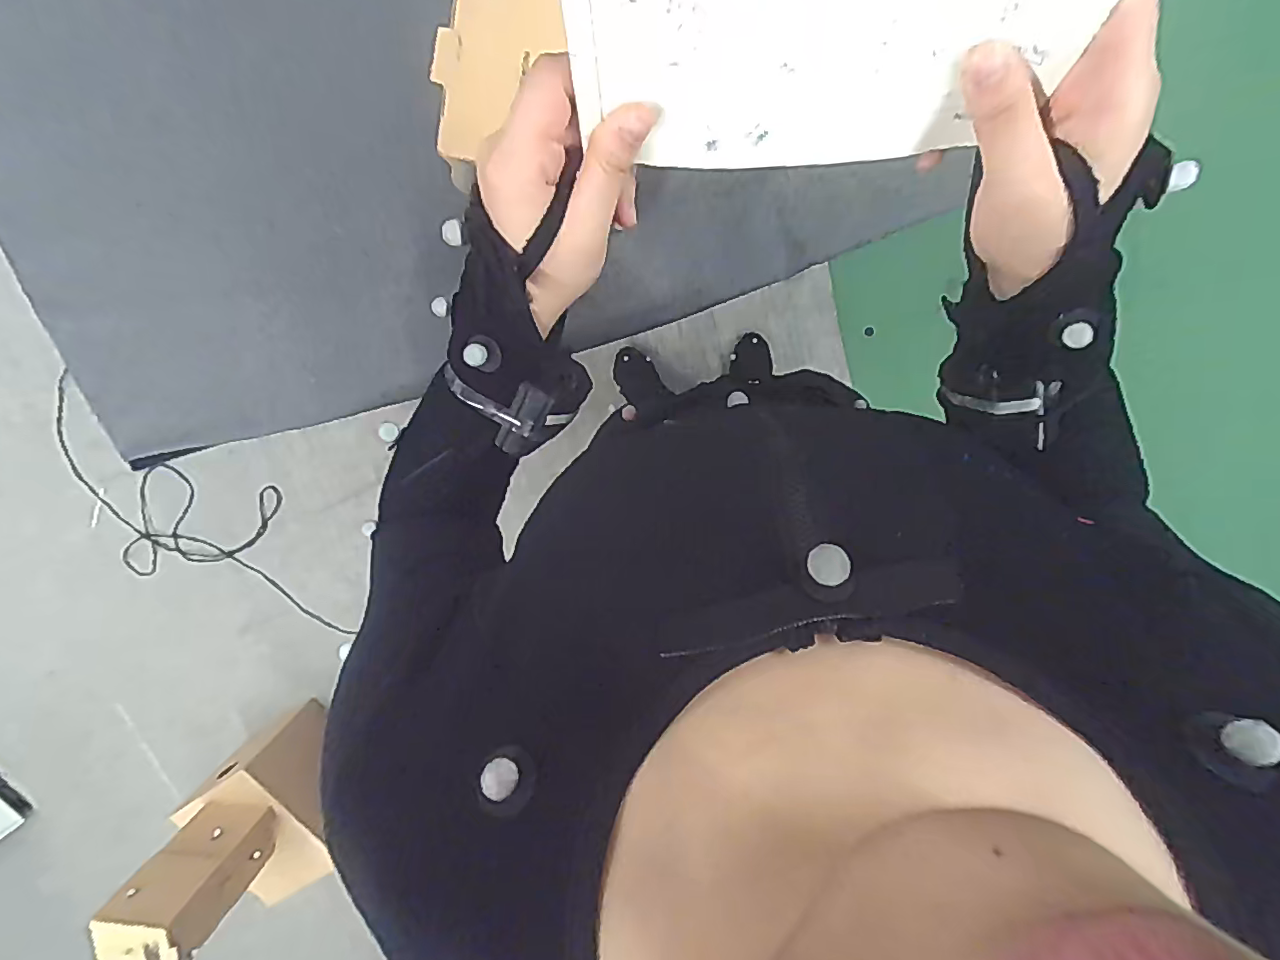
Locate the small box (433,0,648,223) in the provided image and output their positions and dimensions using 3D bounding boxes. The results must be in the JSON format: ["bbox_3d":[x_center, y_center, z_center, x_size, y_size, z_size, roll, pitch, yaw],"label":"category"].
[{"bbox_3d":[-0.092,-0.388,0.573,0.179,0.176,0.168,13,104,1],"label":"small box"}]

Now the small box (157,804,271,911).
[{"bbox_3d":[-1.115,0.996,1.435,0.179,0.176,0.168,5,105,-1],"label":"small box"}]
